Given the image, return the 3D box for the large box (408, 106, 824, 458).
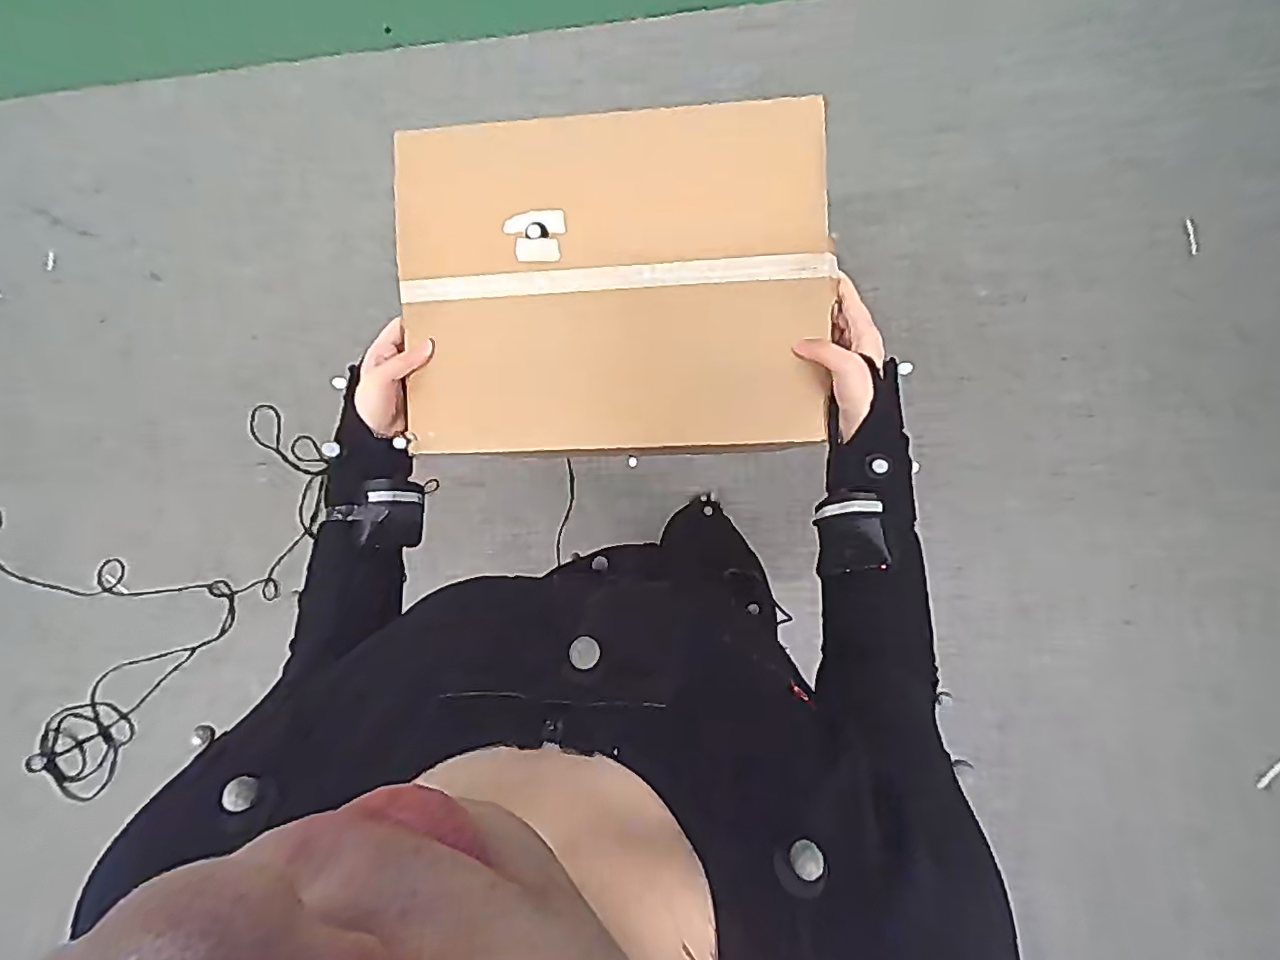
[{"bbox_3d":[-0.013,-0.191,0.673,0.408,0.320,0.320,-2,91,6],"label":"large box"}]
